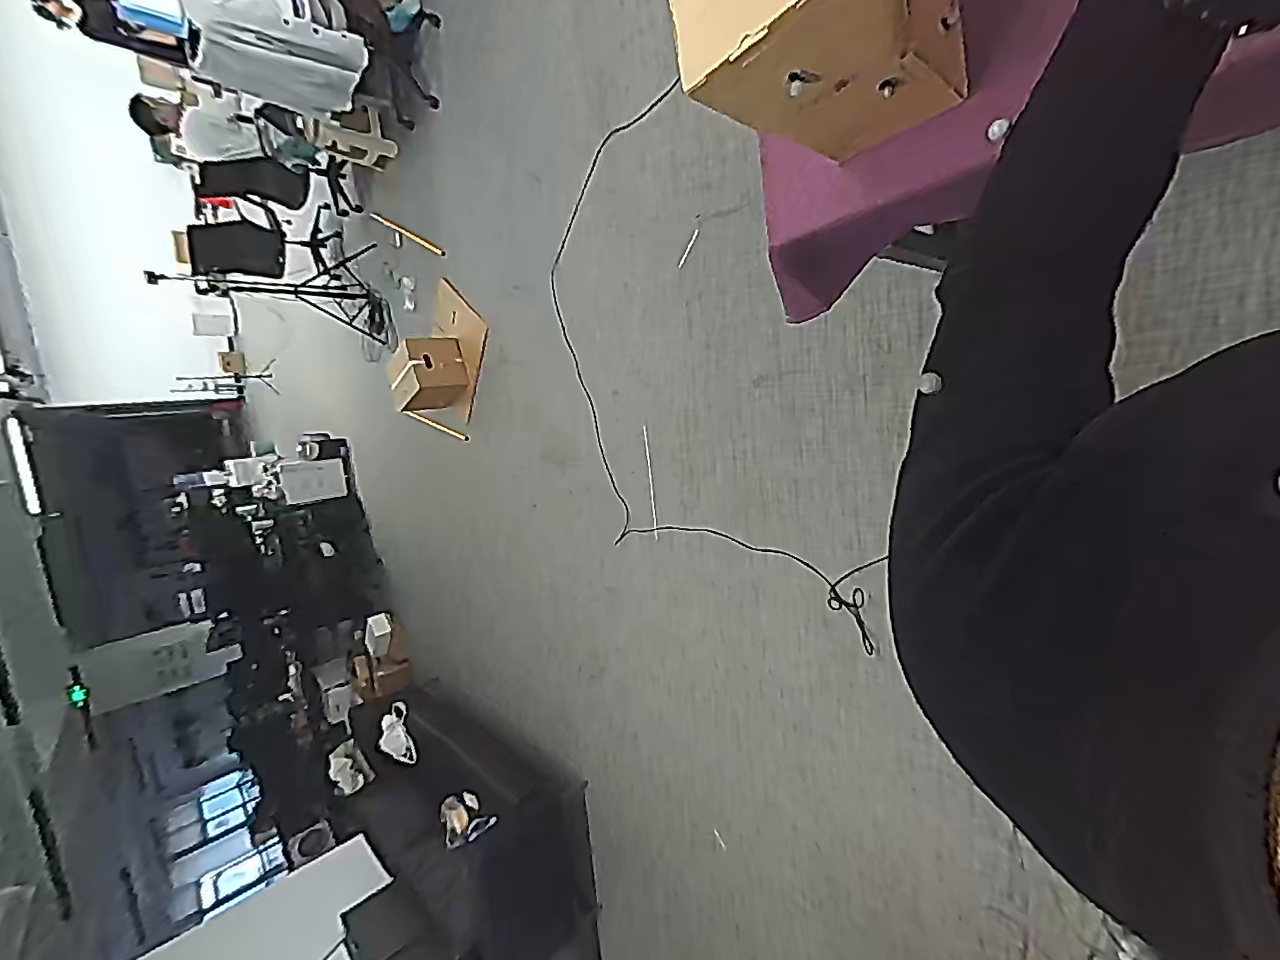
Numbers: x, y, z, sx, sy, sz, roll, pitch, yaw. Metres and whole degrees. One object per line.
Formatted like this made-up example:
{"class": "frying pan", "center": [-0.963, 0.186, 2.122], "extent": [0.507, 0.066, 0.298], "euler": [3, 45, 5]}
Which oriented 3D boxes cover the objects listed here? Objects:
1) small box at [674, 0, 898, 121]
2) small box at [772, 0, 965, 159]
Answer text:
{"class": "small box", "center": [0.152, -0.513, 0.567], "extent": [0.168, 0.176, 0.179], "euler": [-4, 96, 47]}
{"class": "small box", "center": [0.276, -0.535, 0.673], "extent": [0.179, 0.176, 0.168], "euler": [-3, 96, 48]}
